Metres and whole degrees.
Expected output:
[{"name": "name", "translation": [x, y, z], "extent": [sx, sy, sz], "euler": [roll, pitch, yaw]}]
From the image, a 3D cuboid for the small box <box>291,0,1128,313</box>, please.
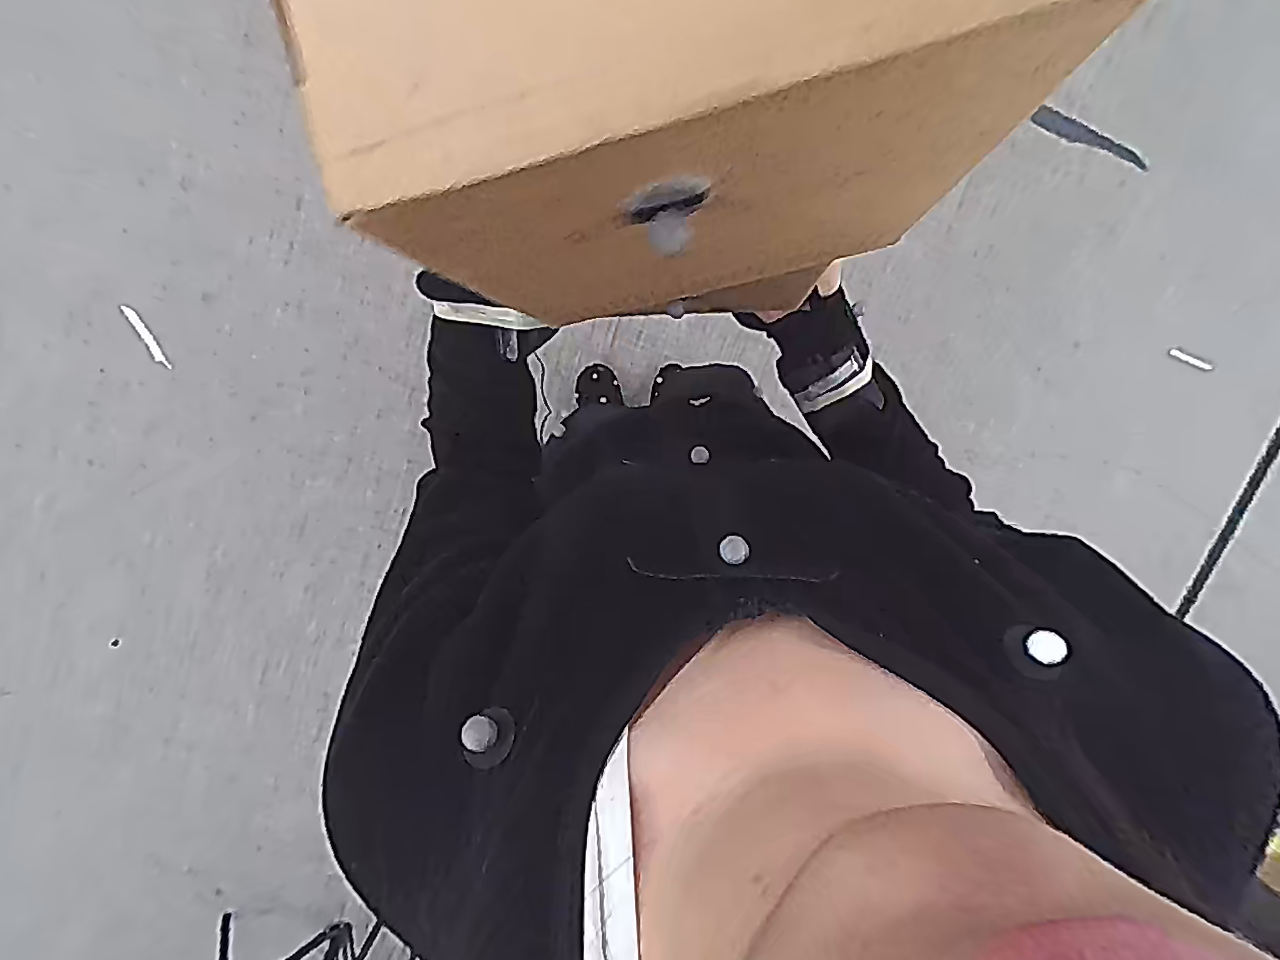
[{"name": "small box", "translation": [0.011, -0.165, 0.182], "extent": [0.179, 0.176, 0.168], "euler": [-10, 97, 10]}]
